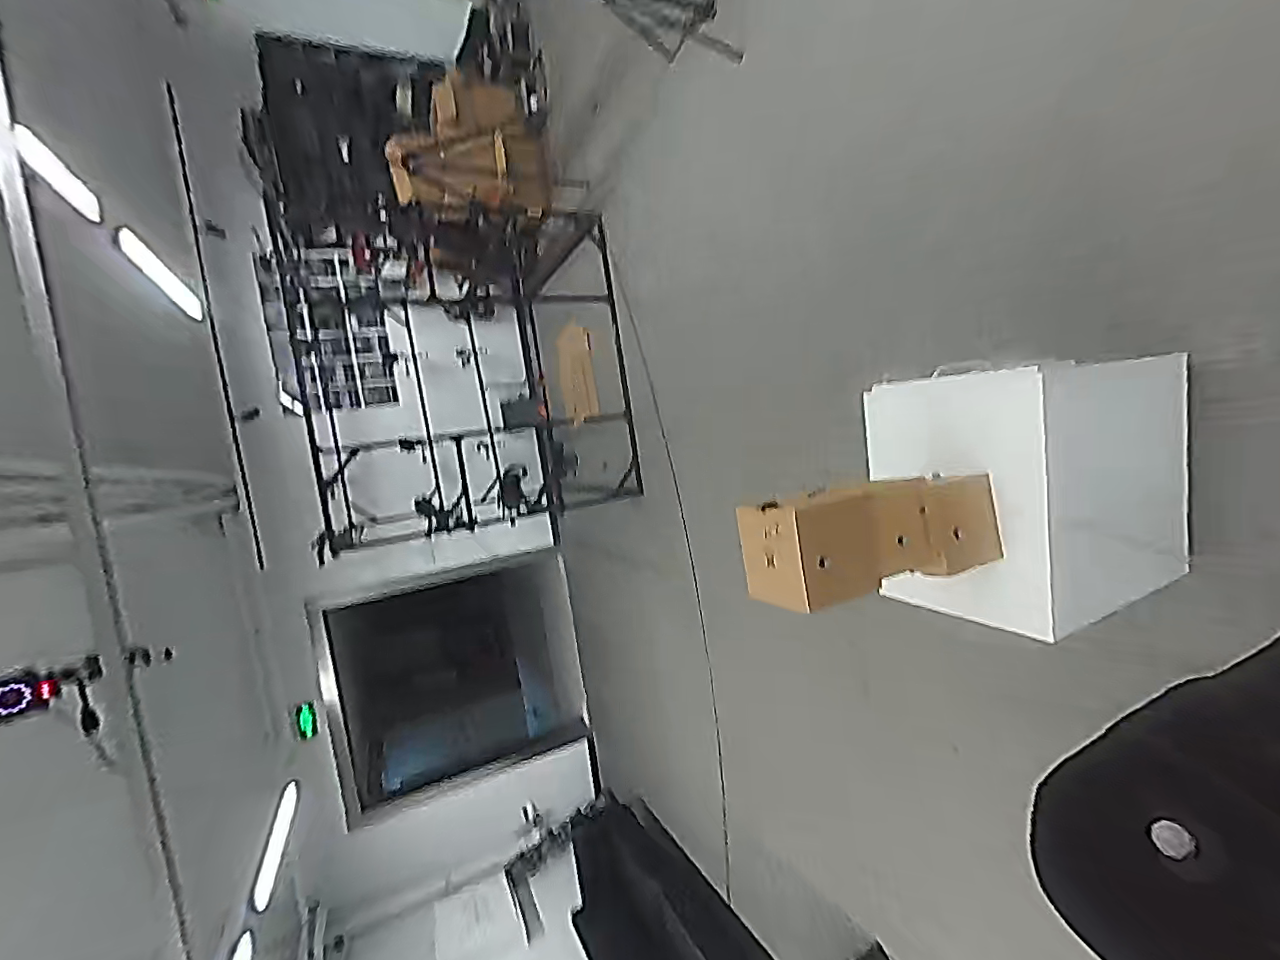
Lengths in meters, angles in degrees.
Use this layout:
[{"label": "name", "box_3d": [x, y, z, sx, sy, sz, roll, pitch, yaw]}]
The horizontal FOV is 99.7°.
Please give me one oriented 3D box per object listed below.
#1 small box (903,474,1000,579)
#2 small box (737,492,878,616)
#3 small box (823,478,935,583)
[{"label": "small box", "box_3d": [0.599, 0.091, 1.105, 0.168, 0.176, 0.179, -12, 88, 65]}, {"label": "small box", "box_3d": [0.301, 0.122, 0.971, 0.168, 0.176, 0.179, -3, 97, 65]}, {"label": "small box", "box_3d": [0.443, 0.093, 1.051, 0.179, 0.176, 0.168, -9, 91, 66]}]
